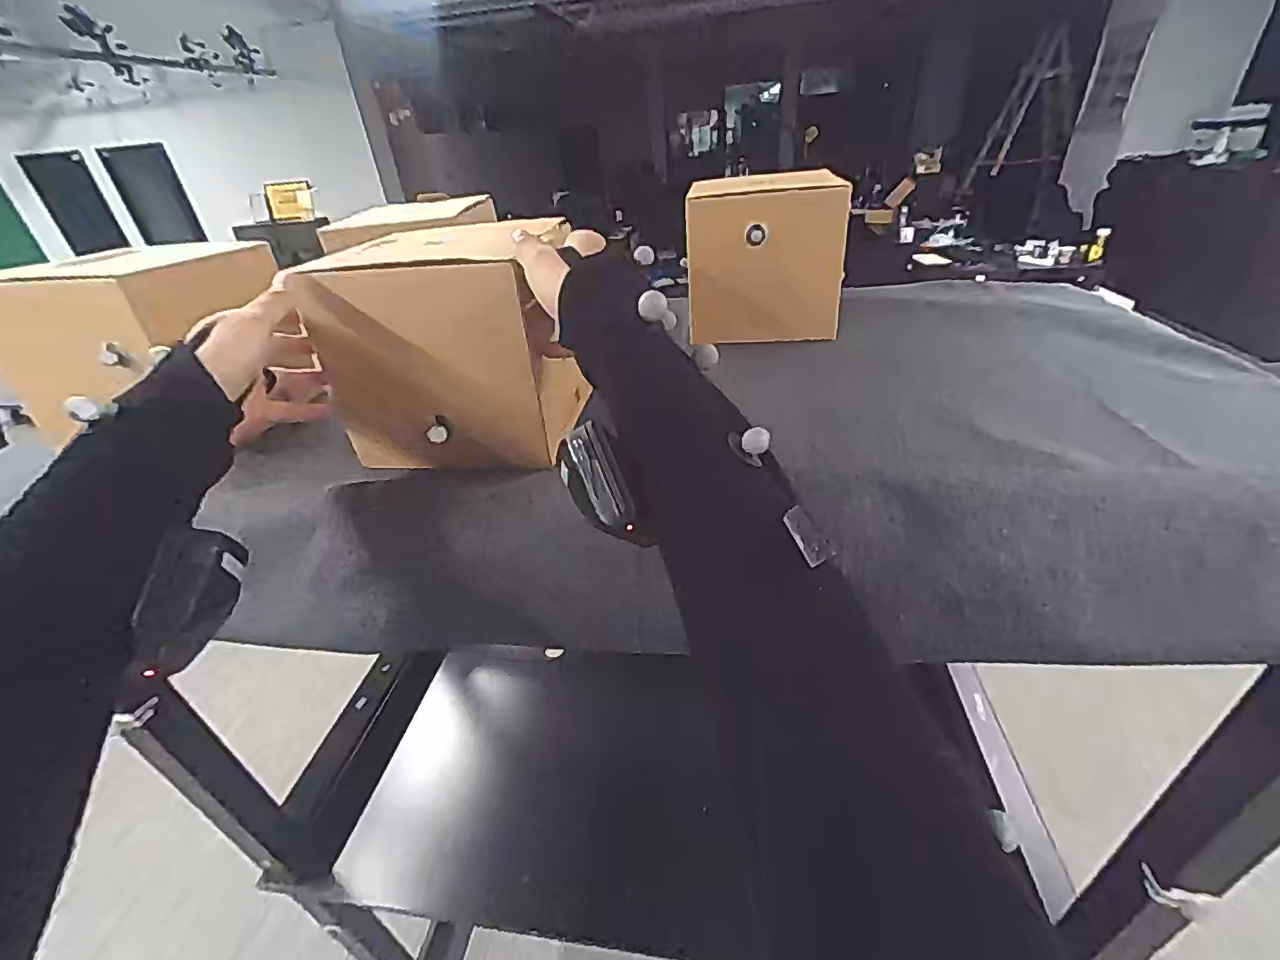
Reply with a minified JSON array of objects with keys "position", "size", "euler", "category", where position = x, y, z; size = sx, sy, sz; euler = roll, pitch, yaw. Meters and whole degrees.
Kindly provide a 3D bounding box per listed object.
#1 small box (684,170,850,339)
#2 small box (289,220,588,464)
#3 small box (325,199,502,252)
[{"position":[0.153,-0.282,0.681],"size":[0.179,0.176,0.168],"euler":[1,34,10],"category":"small box"},{"position":[-0.152,-0.124,0.484],"size":[0.179,0.176,0.168],"euler":[1,33,9],"category":"small box"},{"position":[-0.277,-0.274,0.734],"size":[0.168,0.176,0.179],"euler":[-4,33,5],"category":"small box"}]
